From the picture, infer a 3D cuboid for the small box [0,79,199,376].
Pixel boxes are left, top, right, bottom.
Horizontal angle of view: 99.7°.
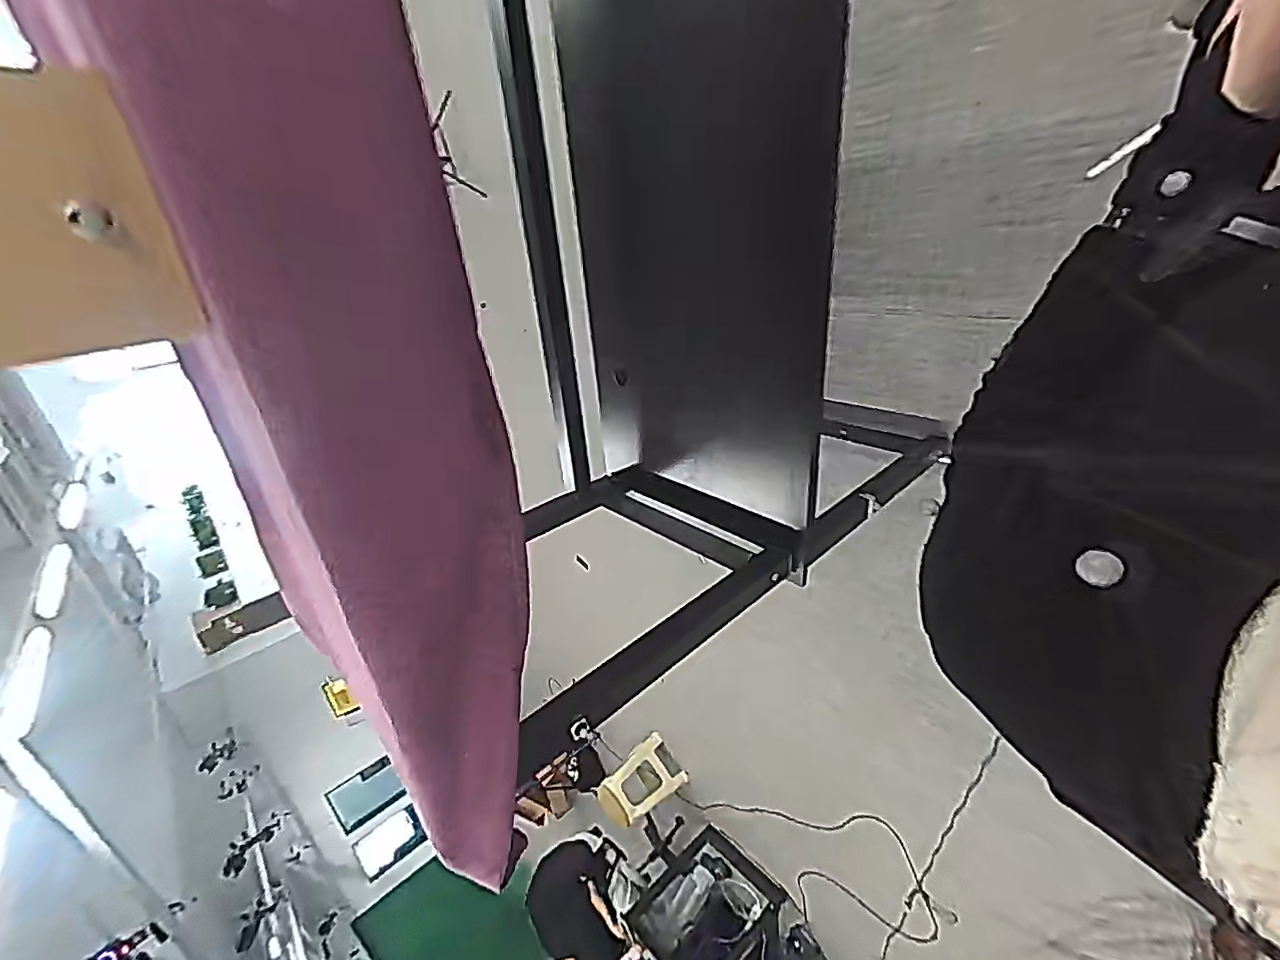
[{"bbox_3d":[-0.467,-0.184,0.397,0.168,0.176,0.179,27,130,42],"label":"small box"}]
